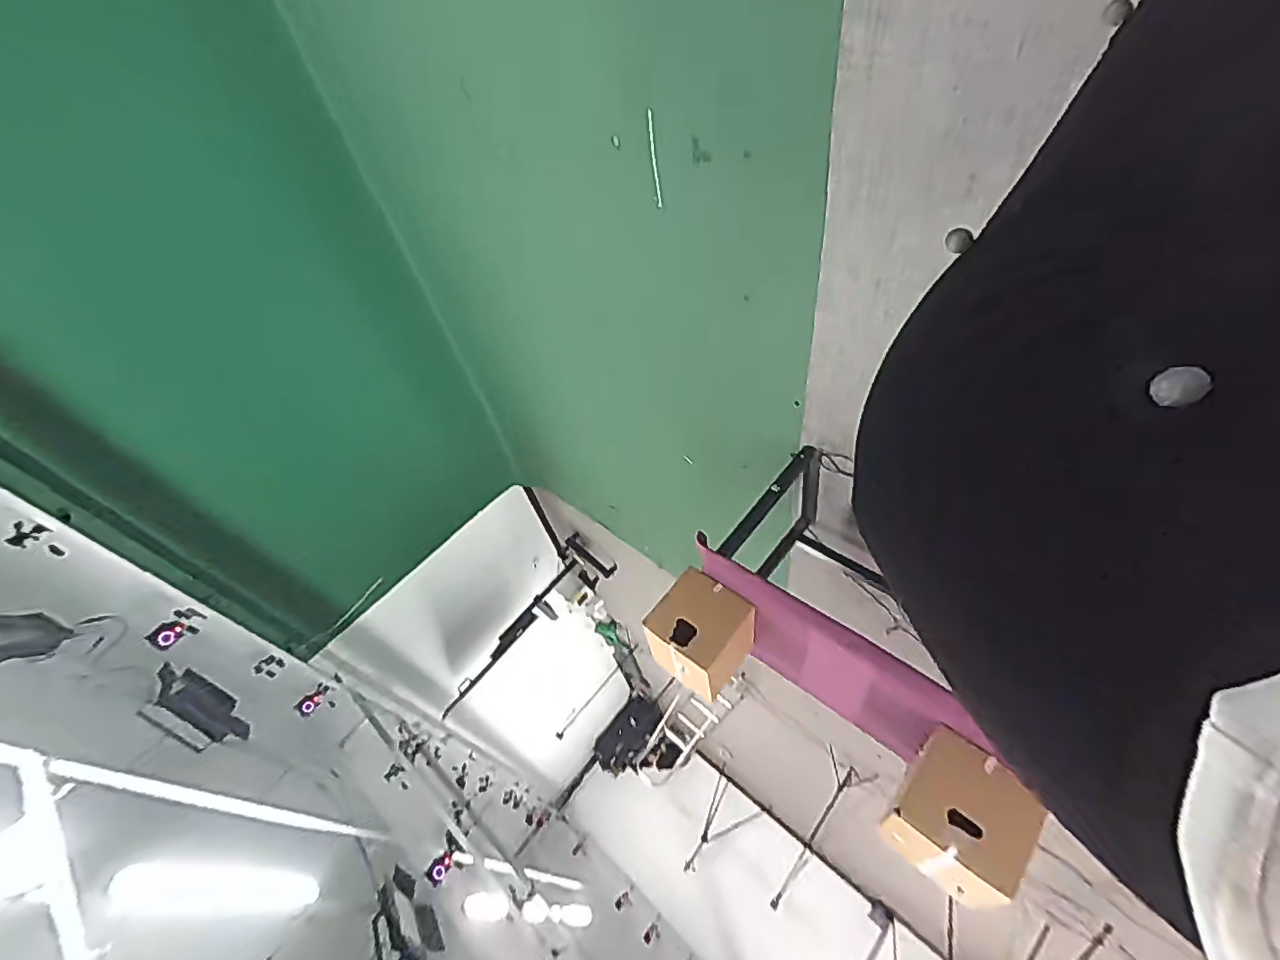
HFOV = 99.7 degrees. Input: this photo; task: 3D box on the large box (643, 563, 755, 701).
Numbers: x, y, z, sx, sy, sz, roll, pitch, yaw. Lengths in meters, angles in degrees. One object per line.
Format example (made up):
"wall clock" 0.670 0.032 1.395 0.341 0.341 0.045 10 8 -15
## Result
"large box" 0.253 0.609 2.172 0.320 0.320 0.408 29 152 29
